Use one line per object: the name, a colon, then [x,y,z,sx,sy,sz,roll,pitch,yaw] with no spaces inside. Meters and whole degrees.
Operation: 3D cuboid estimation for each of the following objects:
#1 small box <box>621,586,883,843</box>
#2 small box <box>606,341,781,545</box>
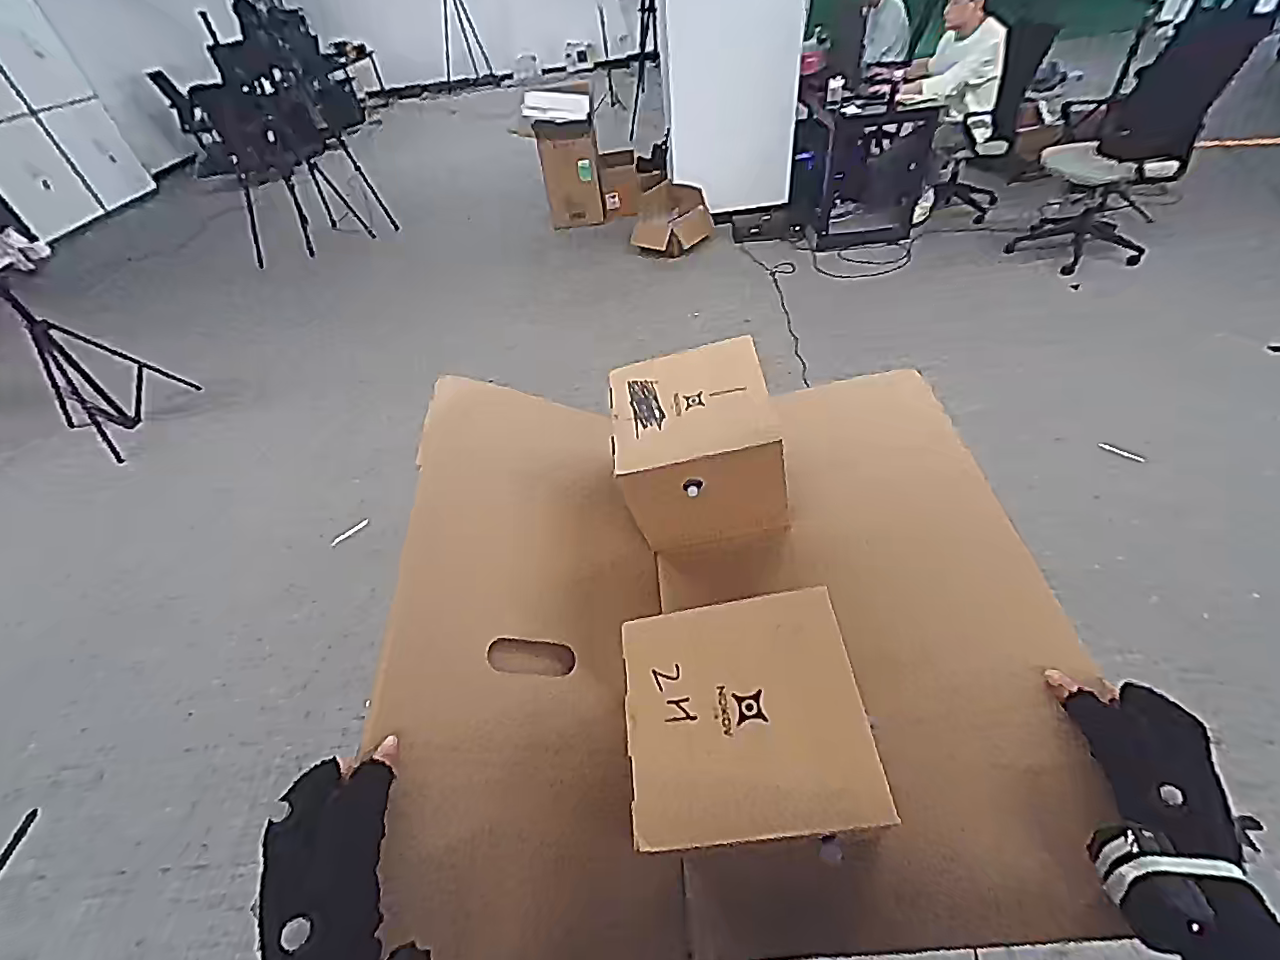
small box: [0.093,0.214,0.478,0.179,0.176,0.168,-14,52,11]
small box: [0.067,-0.037,0.669,0.179,0.176,0.168,-13,52,9]
